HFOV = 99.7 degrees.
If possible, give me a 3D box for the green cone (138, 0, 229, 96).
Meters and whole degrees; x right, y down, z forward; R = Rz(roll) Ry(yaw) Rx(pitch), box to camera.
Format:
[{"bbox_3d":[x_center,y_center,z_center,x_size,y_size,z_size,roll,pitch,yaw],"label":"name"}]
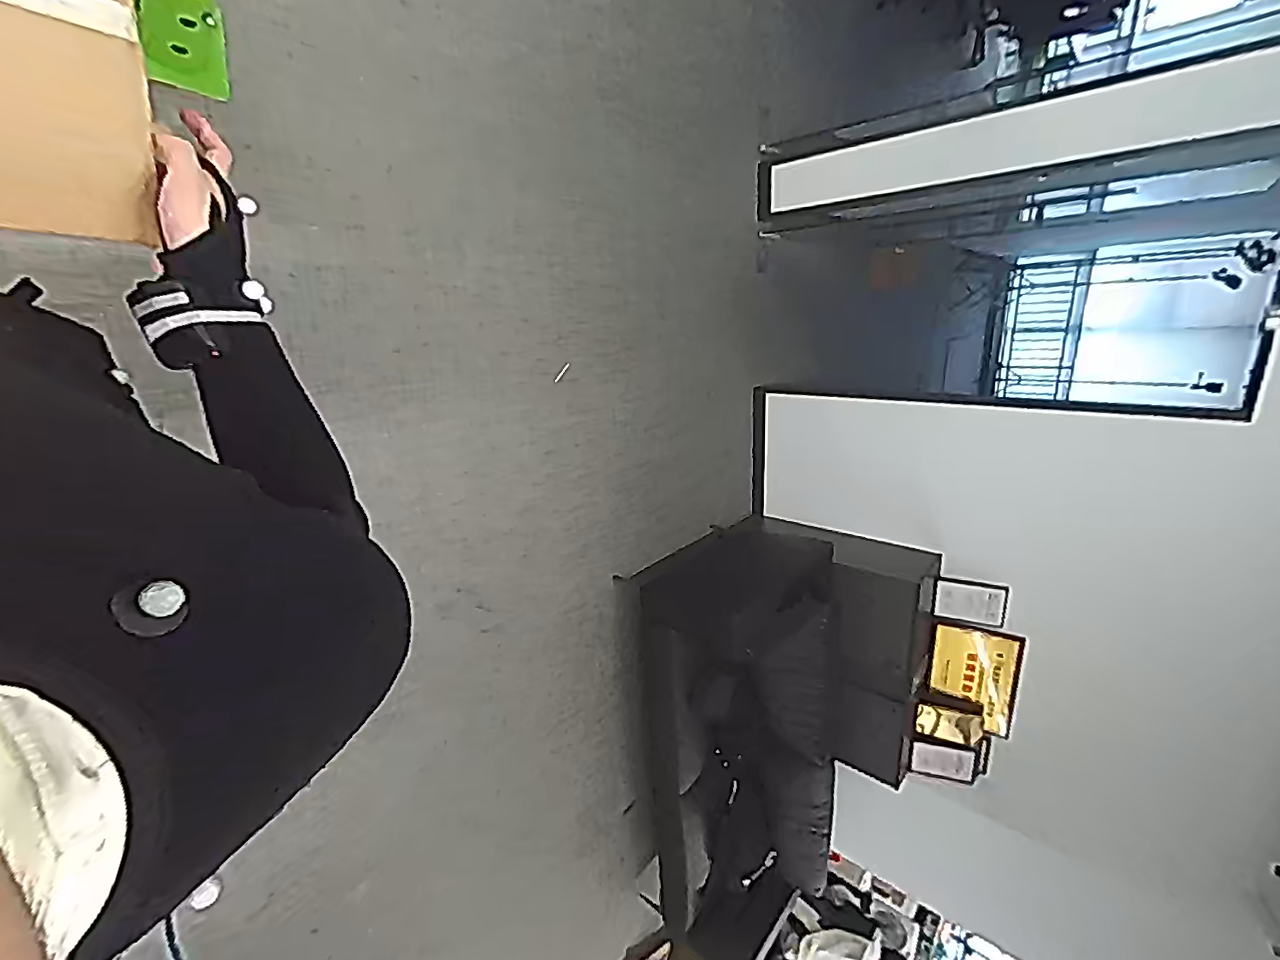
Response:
[{"bbox_3d":[-0.881,-0.937,1.045,0.200,0.368,0.202,-13,108,-48],"label":"green cone"}]
